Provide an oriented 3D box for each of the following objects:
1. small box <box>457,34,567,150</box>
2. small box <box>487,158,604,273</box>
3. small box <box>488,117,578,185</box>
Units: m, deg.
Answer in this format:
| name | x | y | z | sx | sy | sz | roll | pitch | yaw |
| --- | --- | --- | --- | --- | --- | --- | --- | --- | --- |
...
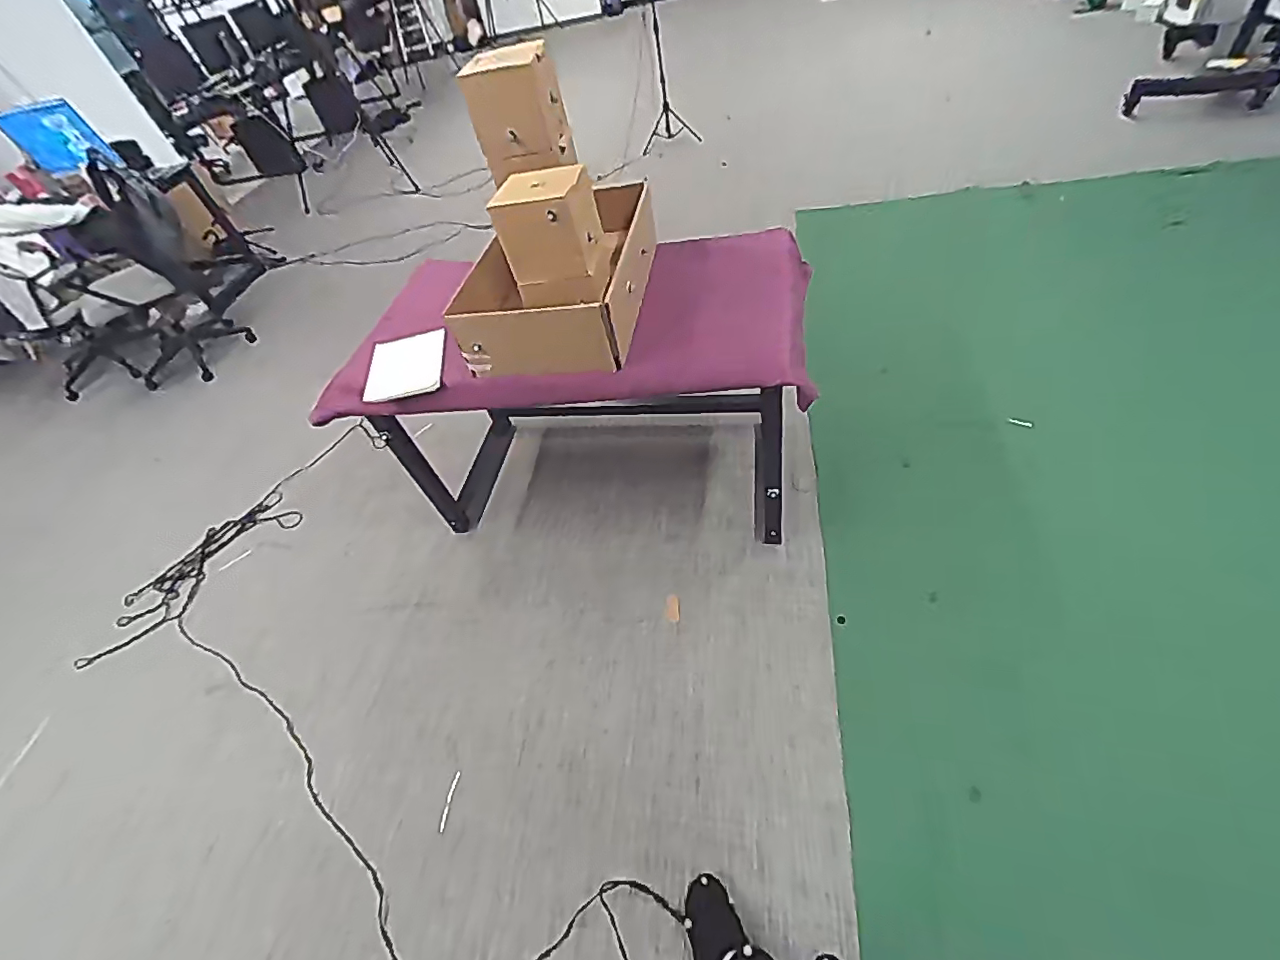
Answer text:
| name | x | y | z | sx | sy | sz | roll | pitch | yaw |
| --- | --- | --- | --- | --- | --- | --- | --- | --- | --- |
| small box | -0.281 | -0.883 | 1.239 | 0.179 | 0.176 | 0.168 | 1 | 51 | 12 |
| small box | -0.192 | -0.559 | 1.156 | 0.179 | 0.176 | 0.168 | 1 | 49 | 14 |
| small box | -0.250 | -0.778 | 1.361 | 0.179 | 0.176 | 0.168 | -2 | 51 | 12 |
